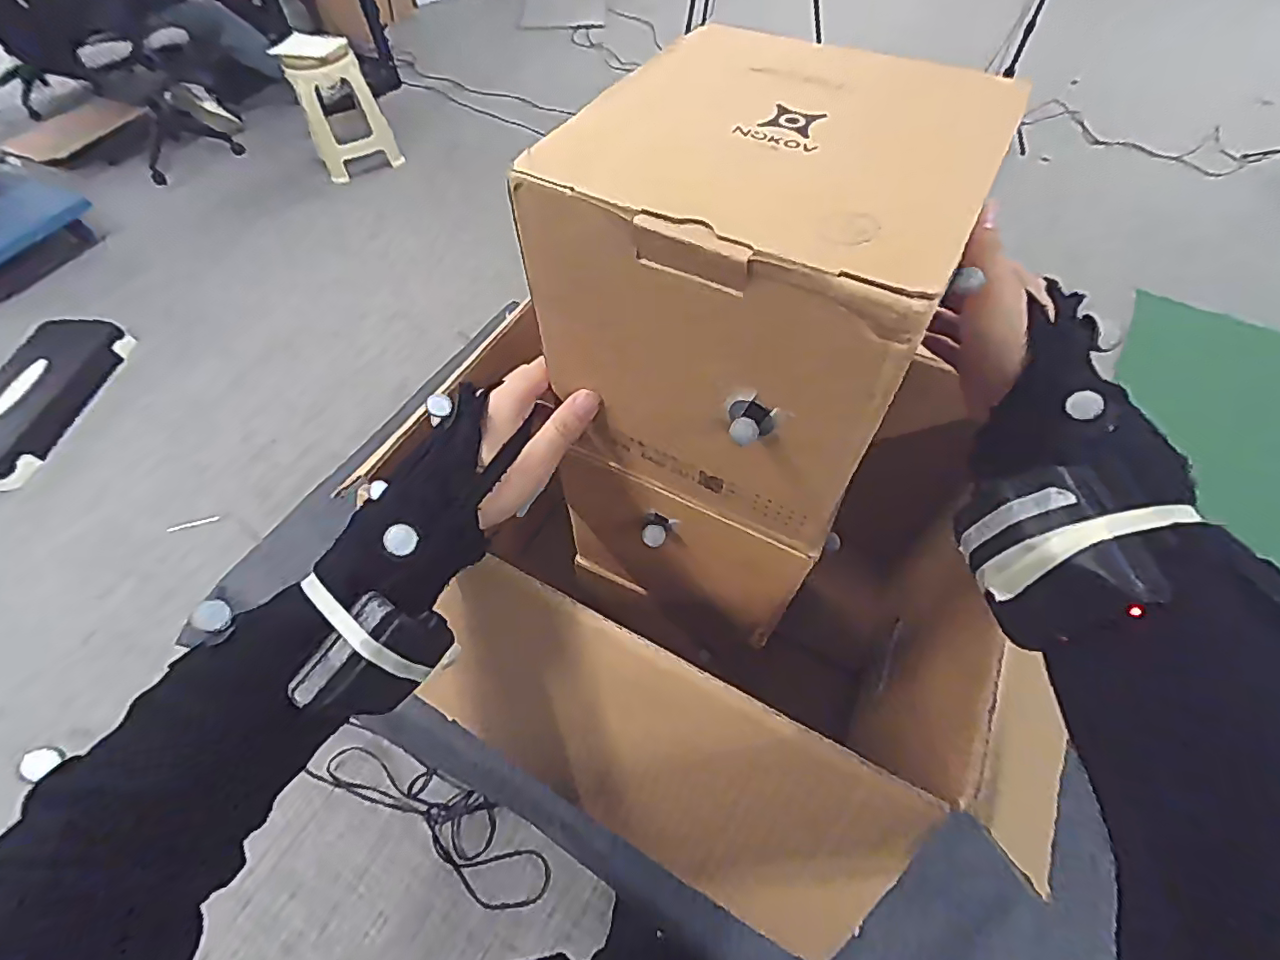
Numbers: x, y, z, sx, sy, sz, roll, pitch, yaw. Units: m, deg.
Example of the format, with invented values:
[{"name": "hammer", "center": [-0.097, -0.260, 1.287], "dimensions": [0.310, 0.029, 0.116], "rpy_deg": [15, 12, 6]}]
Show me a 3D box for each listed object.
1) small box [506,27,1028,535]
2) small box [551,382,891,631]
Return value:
[{"name": "small box", "center": [0.061, -0.100, 0.290], "dimensions": [0.168, 0.176, 0.179], "rpy_deg": [26, 60, 16]}, {"name": "small box", "center": [0.058, -0.004, 0.422], "dimensions": [0.179, 0.176, 0.168], "rpy_deg": [25, 60, 17]}]
